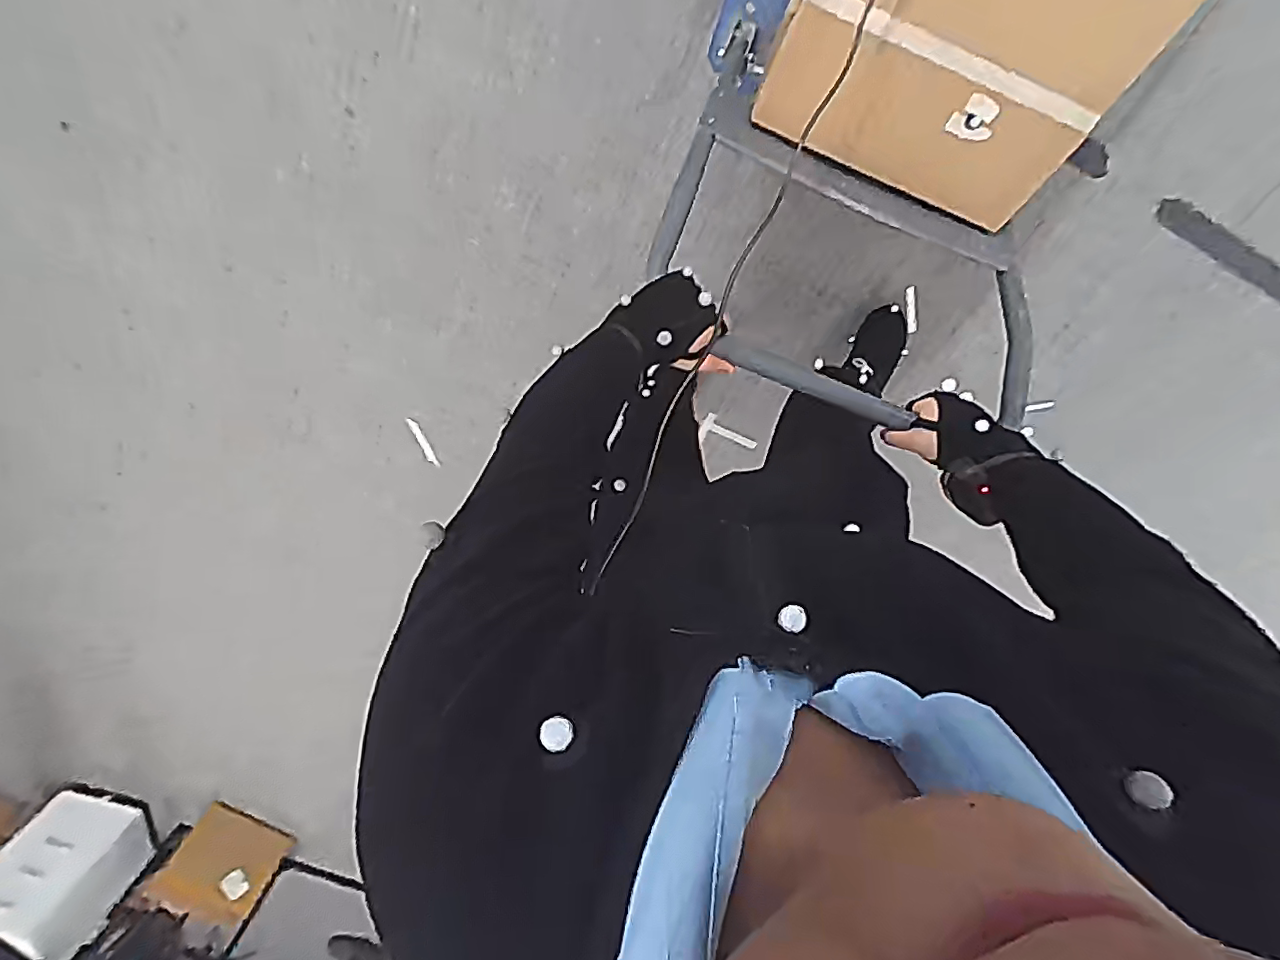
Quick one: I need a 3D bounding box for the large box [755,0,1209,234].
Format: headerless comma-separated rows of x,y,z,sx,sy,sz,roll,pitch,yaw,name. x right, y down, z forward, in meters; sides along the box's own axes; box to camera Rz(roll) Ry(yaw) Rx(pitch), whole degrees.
0.416,-0.625,0.748,0.408,0.320,0.320,21,145,-7,large box
